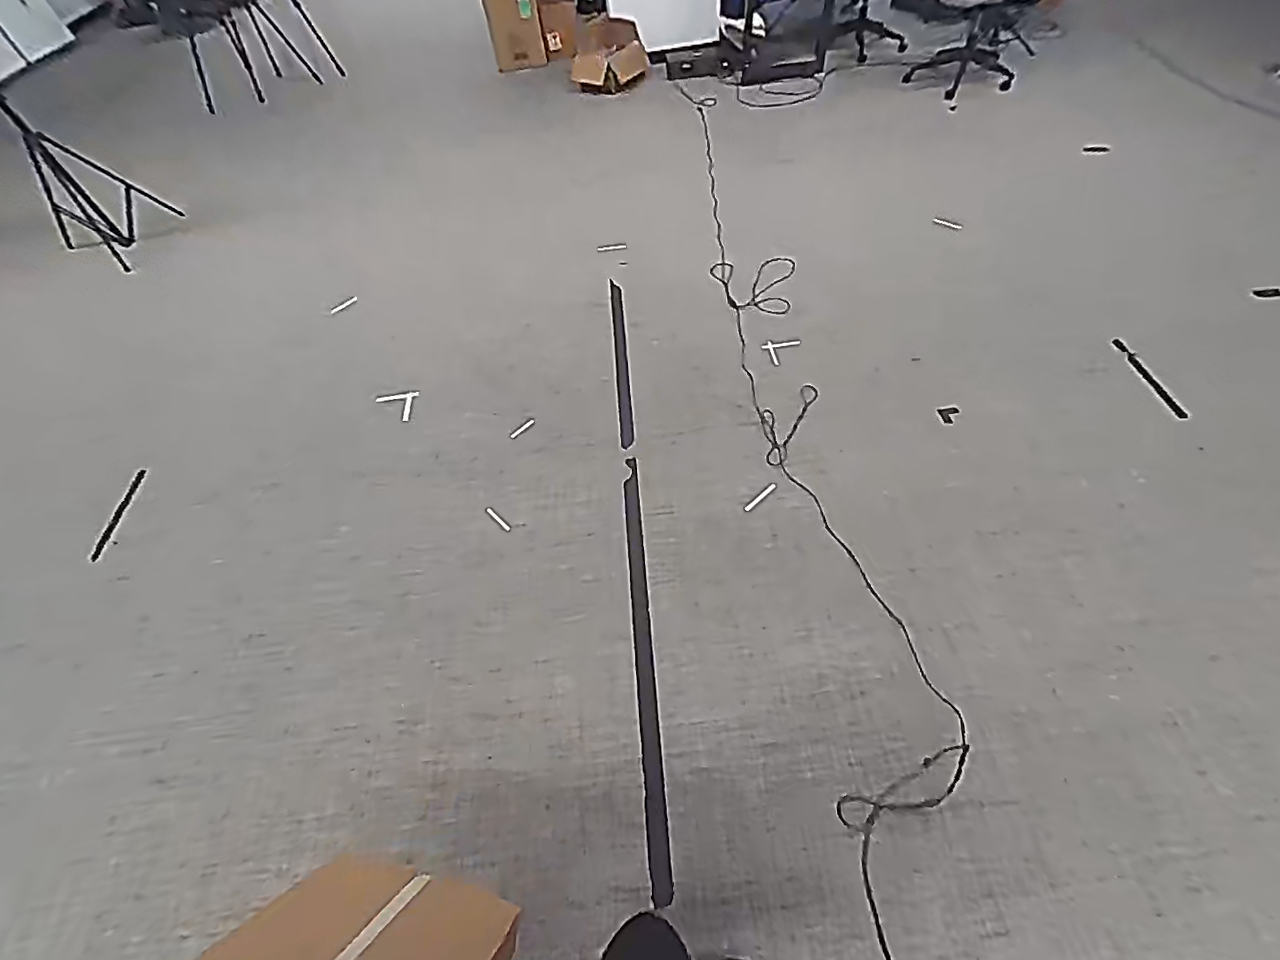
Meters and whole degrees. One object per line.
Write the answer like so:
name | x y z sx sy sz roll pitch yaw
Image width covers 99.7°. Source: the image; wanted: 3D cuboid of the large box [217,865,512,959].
large box | -0.387 0.748 0.618 0.320 0.408 0.320 7 83 10
